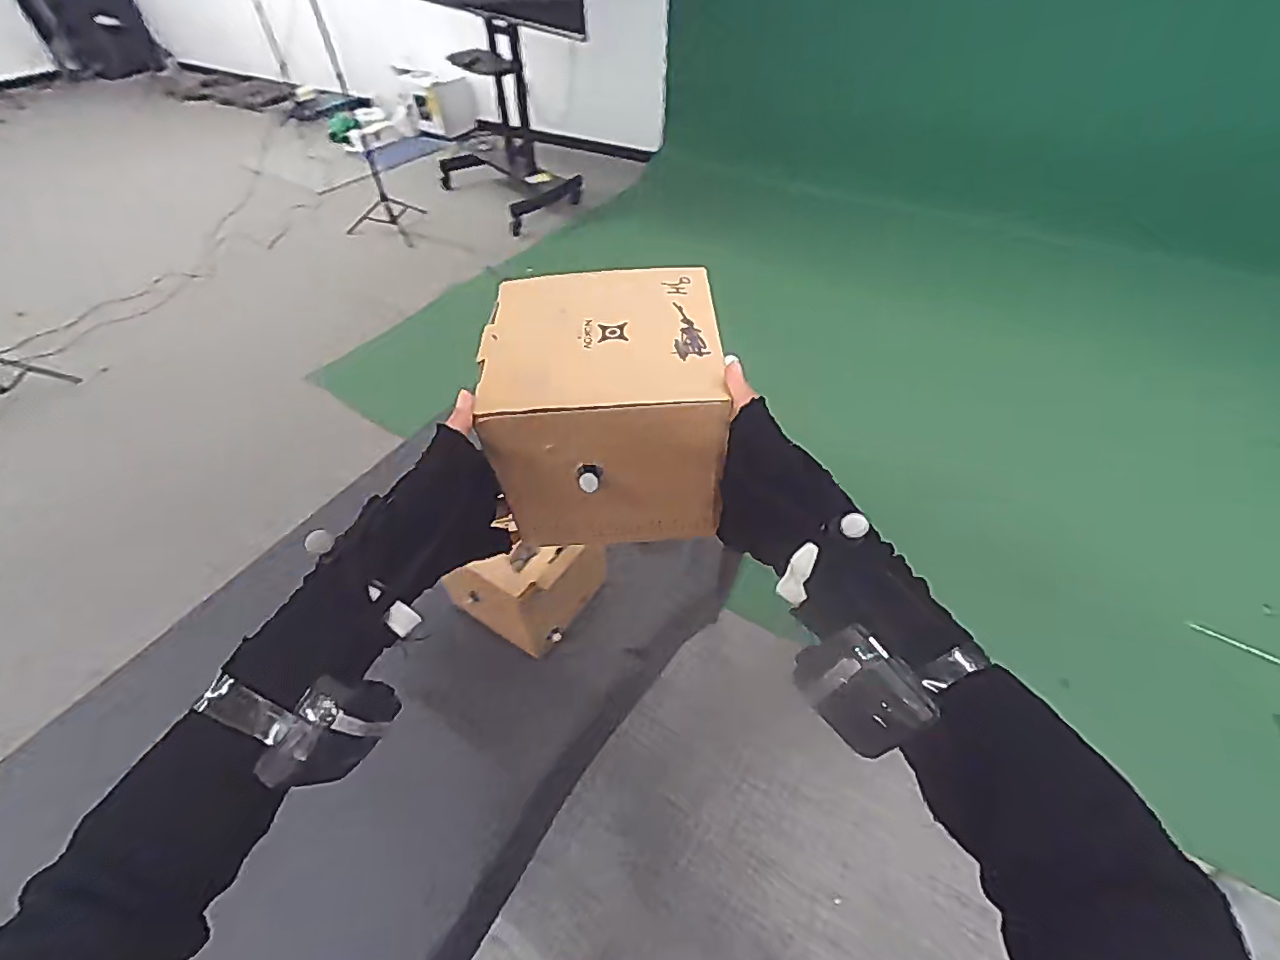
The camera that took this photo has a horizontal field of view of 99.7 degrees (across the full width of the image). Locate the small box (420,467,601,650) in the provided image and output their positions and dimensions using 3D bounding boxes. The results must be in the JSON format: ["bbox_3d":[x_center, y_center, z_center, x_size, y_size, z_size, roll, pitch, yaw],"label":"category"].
[{"bbox_3d":[-0.172,0.118,0.779,0.179,0.176,0.168,25,53,23],"label":"small box"}]

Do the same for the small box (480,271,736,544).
[{"bbox_3d":[-0.016,-0.056,0.469,0.179,0.176,0.168,-3,51,3],"label":"small box"}]
